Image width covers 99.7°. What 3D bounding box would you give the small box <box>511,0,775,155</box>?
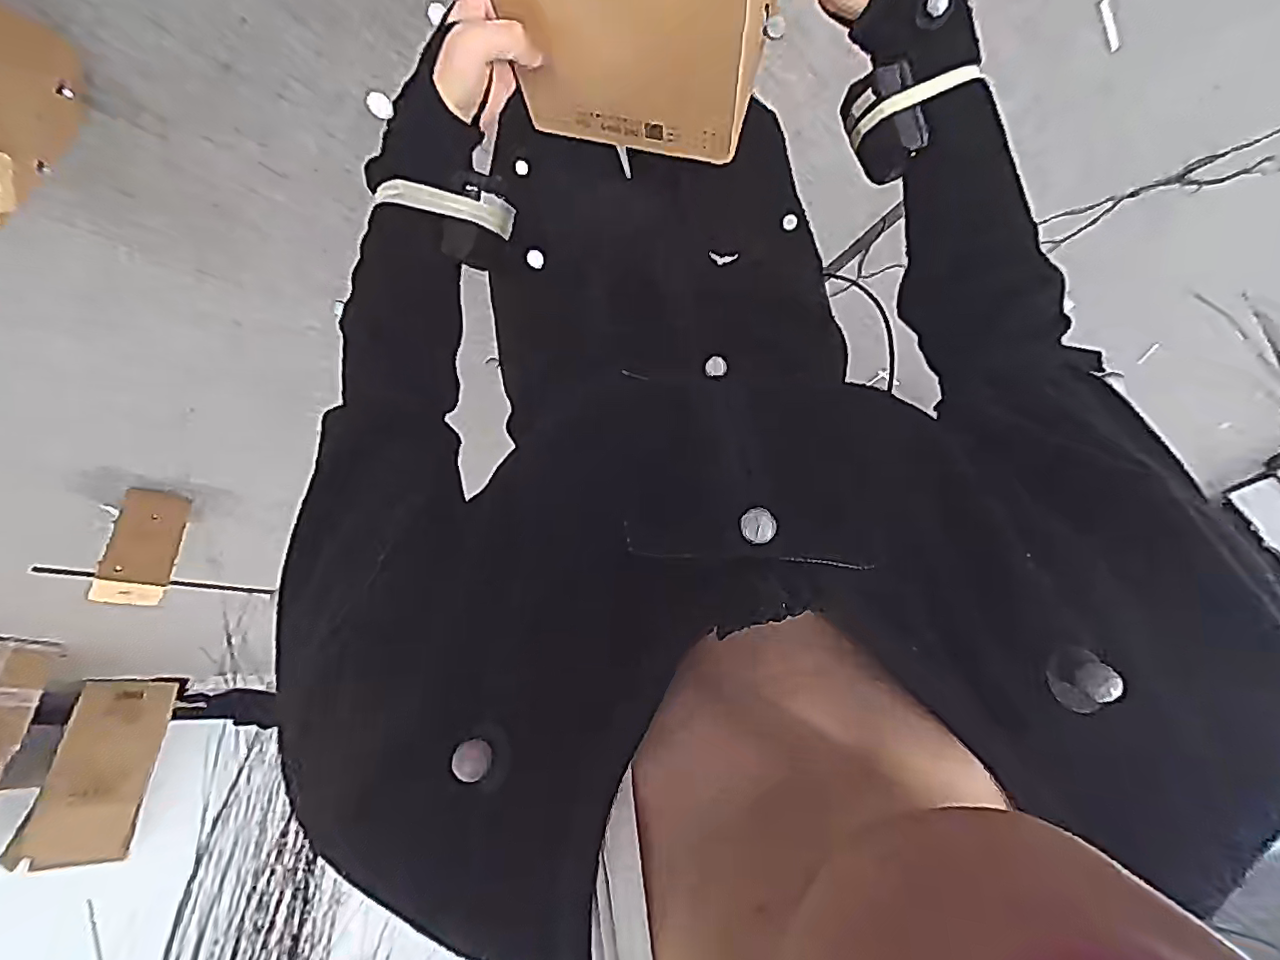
[{"bbox_3d":[0.010,-0.365,0.360,0.168,0.179,0.176,15,173,6],"label":"small box"}]

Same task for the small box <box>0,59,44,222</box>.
[{"bbox_3d":[-1.001,-0.519,0.769,0.179,0.176,0.168,15,138,-35],"label":"small box"}]

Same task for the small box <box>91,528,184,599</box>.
[{"bbox_3d":[-1.636,0.272,1.765,0.179,0.176,0.168,20,136,-41],"label":"small box"}]
